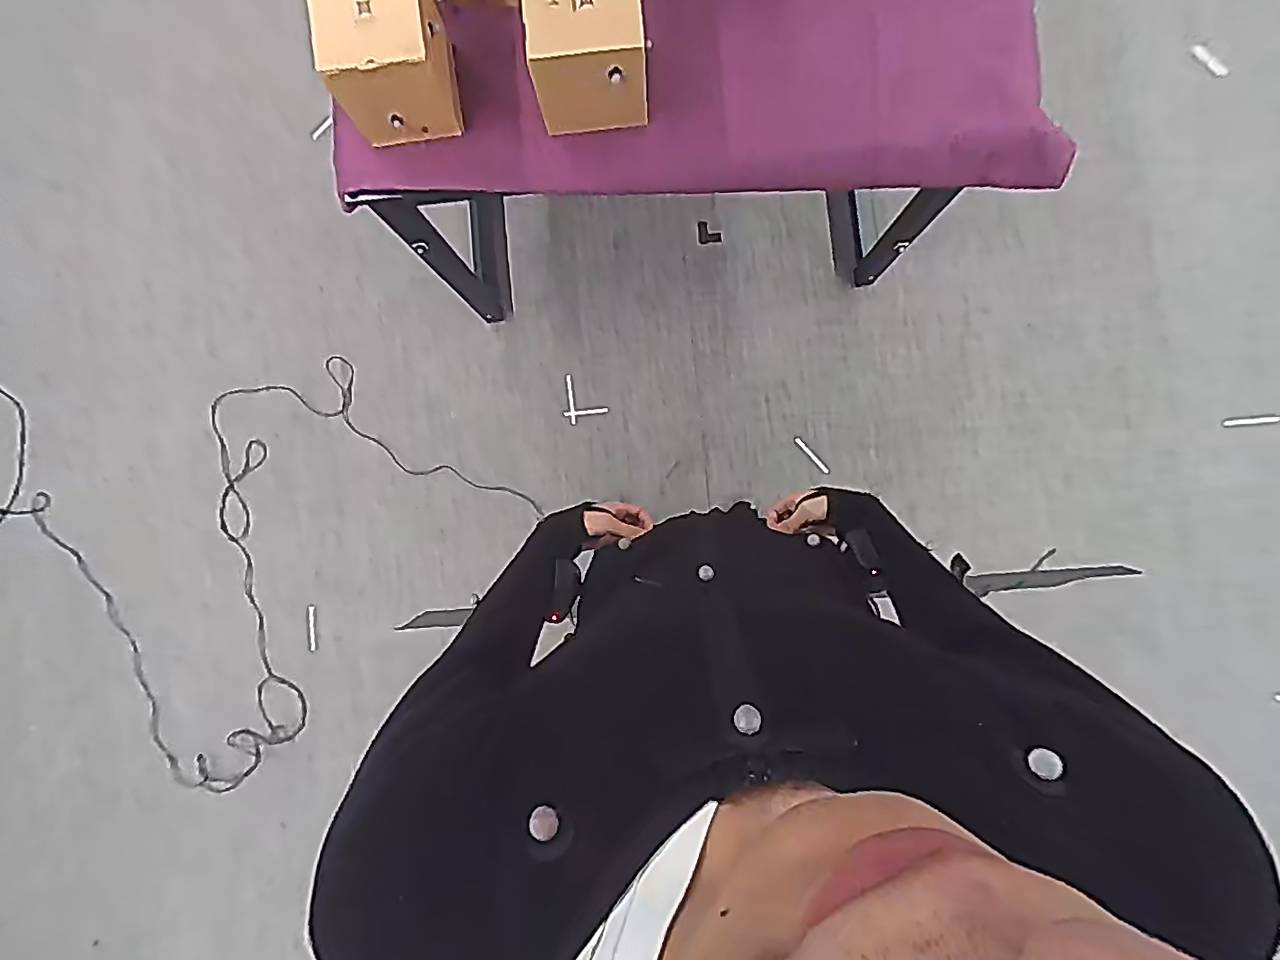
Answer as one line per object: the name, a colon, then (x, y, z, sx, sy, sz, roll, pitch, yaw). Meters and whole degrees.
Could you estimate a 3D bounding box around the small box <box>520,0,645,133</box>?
small box: (-0.084, -0.690, 0.858, 0.179, 0.176, 0.168, -5, 88, 3)

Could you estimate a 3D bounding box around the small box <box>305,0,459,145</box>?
small box: (-0.406, -0.684, 0.869, 0.168, 0.176, 0.179, -9, 88, 0)

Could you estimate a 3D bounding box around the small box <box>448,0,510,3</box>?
small box: (-0.300, -0.923, 0.874, 0.168, 0.176, 0.179, 1, 88, 2)
